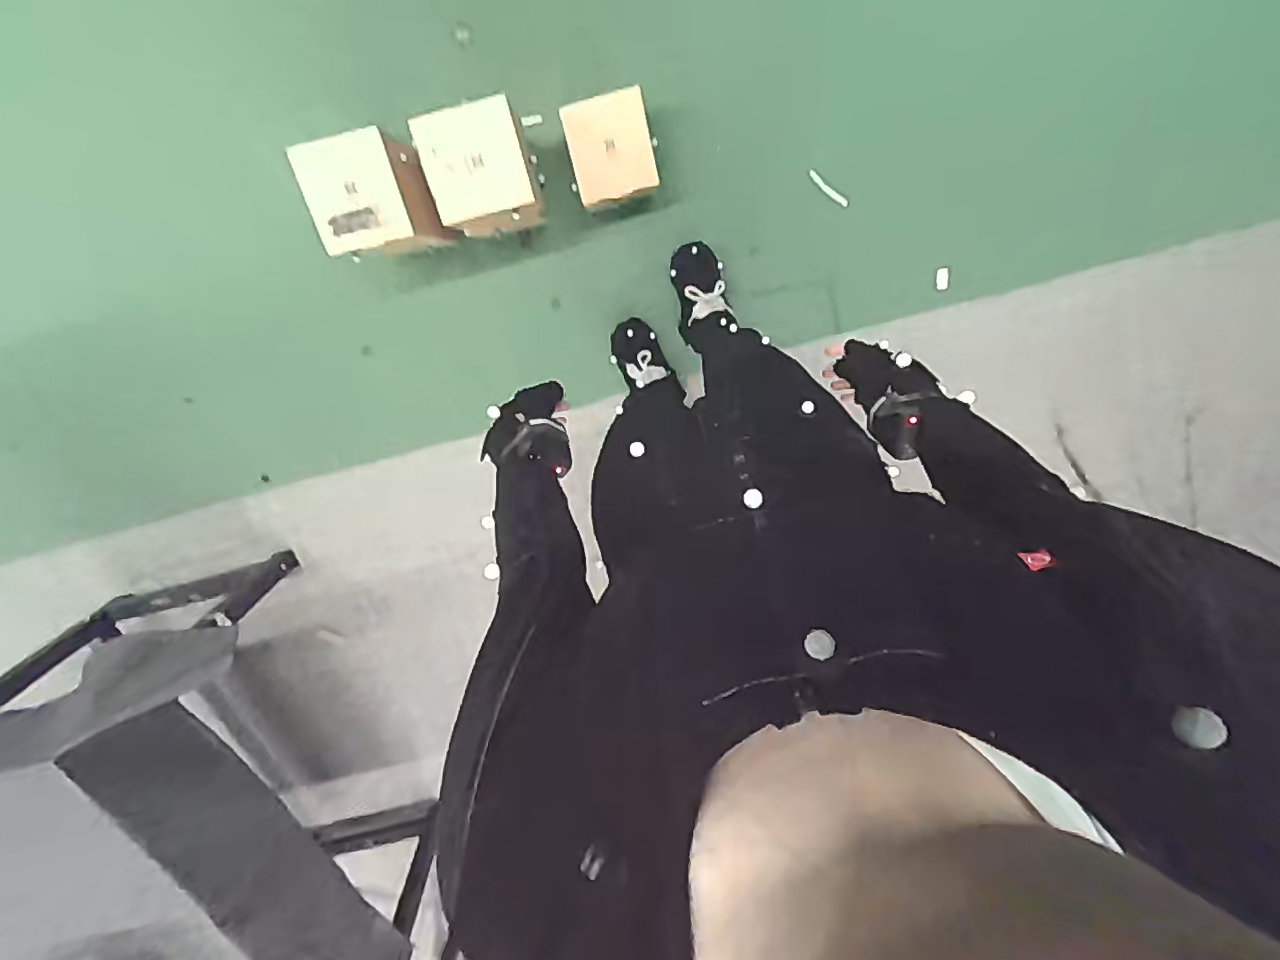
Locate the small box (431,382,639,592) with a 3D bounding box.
[{"bbox_3d":[-0.119,0.004,0.645,0.168,0.179,0.176,34,94,-7],"label":"small box"}]

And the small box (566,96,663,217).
[{"bbox_3d":[-0.055,-0.689,1.170,0.168,0.176,0.179,-15,112,3],"label":"small box"}]
